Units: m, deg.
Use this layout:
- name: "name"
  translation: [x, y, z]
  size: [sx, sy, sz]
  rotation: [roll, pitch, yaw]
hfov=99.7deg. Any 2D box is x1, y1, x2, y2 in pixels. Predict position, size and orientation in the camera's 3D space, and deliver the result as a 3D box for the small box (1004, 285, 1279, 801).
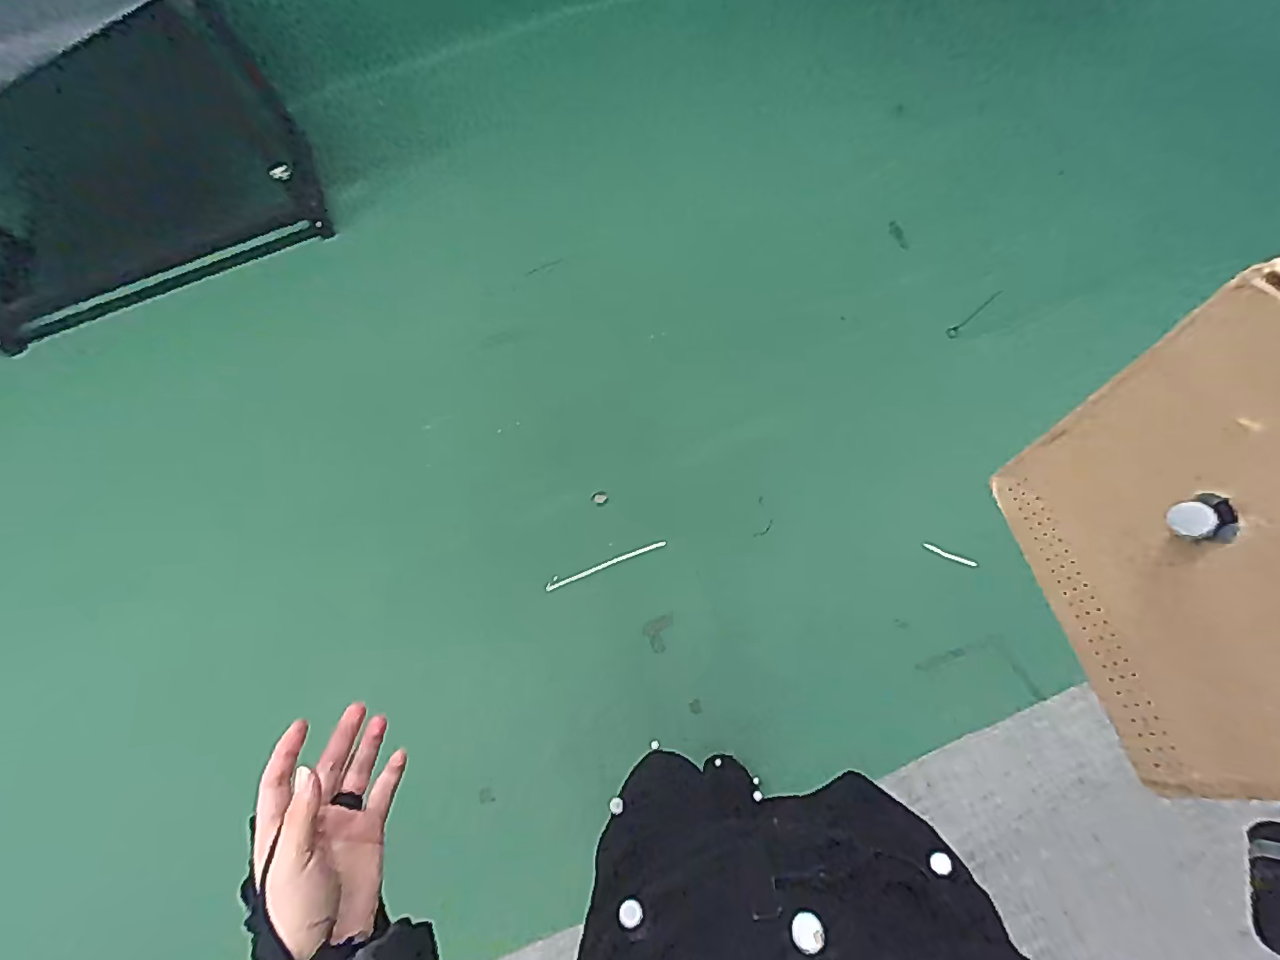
- name: "small box"
  translation: [0.316, 0.032, 0.242]
  size: [0.168, 0.176, 0.179]
  rotation: [-7, 61, -5]
